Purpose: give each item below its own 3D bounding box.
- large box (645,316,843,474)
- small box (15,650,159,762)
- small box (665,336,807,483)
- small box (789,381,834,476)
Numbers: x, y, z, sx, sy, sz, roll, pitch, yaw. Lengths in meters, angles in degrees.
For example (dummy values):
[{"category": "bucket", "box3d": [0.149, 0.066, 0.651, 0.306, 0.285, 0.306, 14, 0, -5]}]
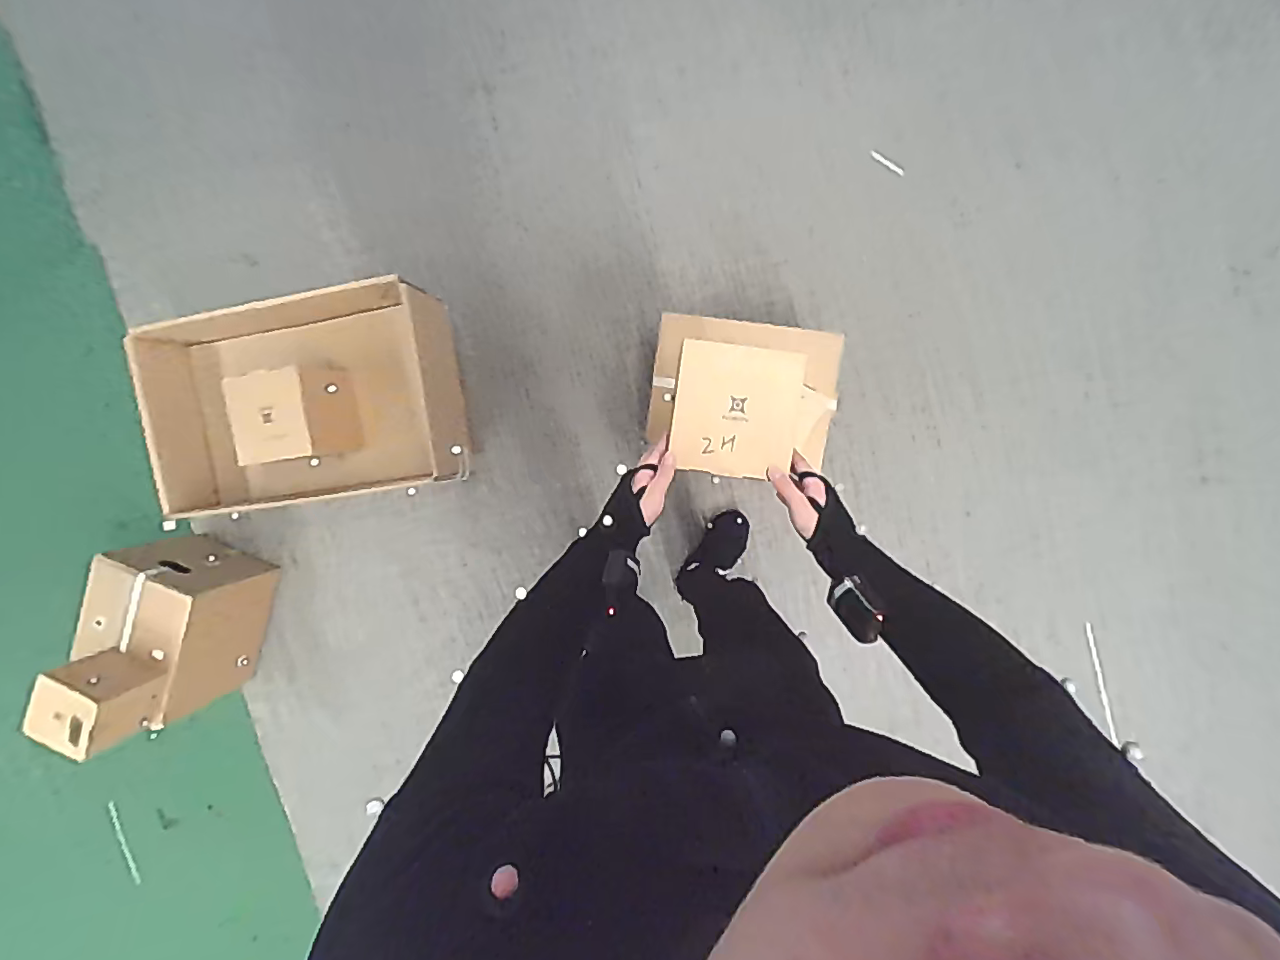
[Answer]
[{"category": "large box", "box3d": [0.247, -0.205, 1.349, 0.408, 0.320, 0.320, 9, 96, 7]}, {"category": "small box", "box3d": [-1.373, 0.554, 1.354, 0.179, 0.176, 0.168, 24, 97, 4]}, {"category": "small box", "box3d": [0.128, -0.096, 0.787, 0.168, 0.176, 0.179, 7, 93, 1]}, {"category": "small box", "box3d": [0.263, -0.126, 1.106, 0.168, 0.176, 0.179, 29, 99, 3]}]
